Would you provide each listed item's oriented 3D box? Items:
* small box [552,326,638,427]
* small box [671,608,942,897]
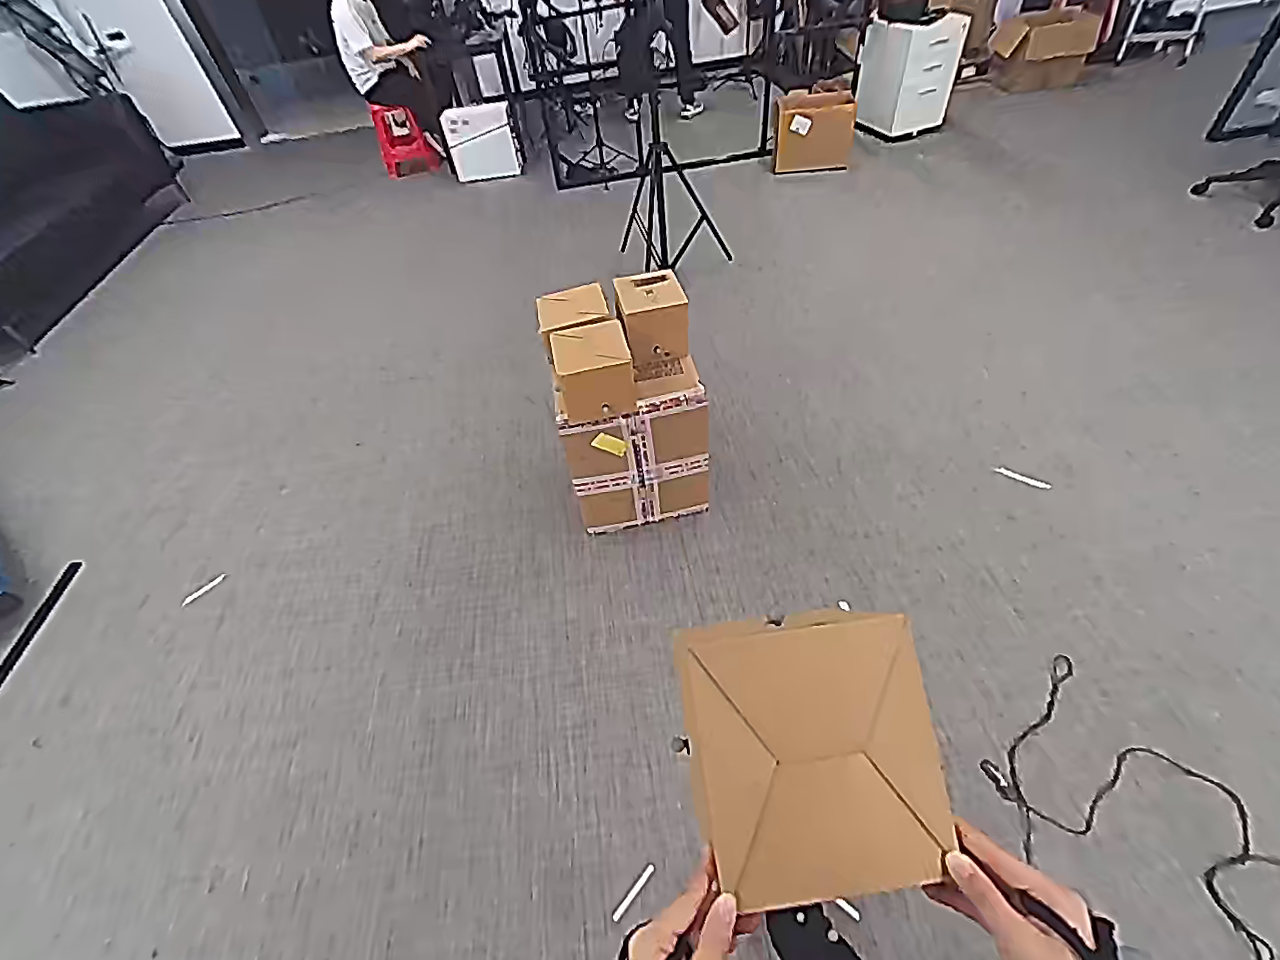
[{"bbox_3d":[-0.113,-0.260,1.338,0.179,0.176,0.168,-13,51,-3],"label":"small box"},{"bbox_3d":[0.124,0.211,0.463,0.168,0.176,0.179,-7,79,-3],"label":"small box"}]
